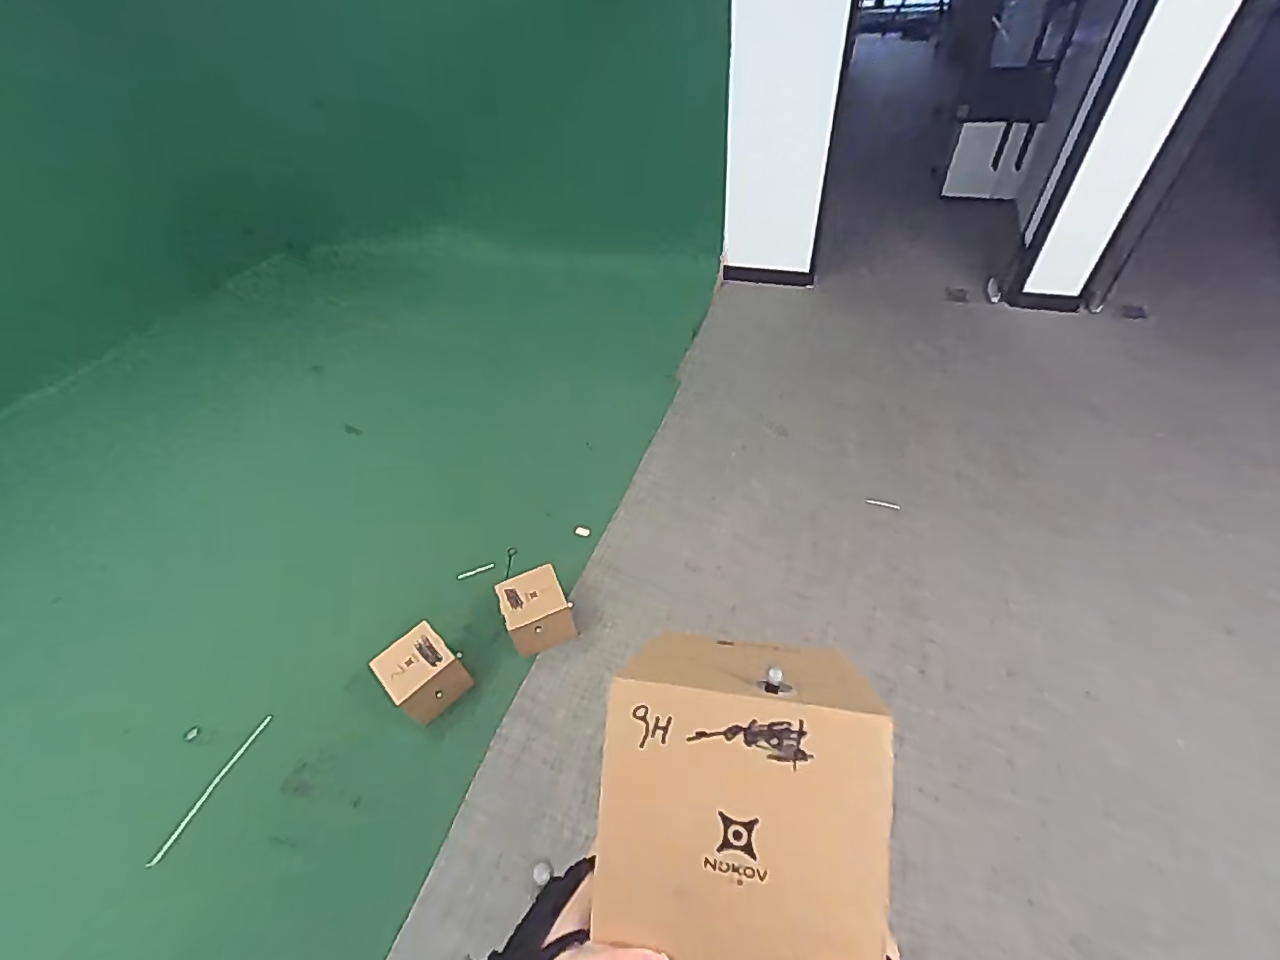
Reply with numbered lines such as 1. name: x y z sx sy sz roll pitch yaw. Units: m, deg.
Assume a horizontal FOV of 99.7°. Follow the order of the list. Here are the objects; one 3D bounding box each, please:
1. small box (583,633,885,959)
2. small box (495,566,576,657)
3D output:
1. small box: 0.070 0.223 0.392 0.168 0.176 0.179 4 85 14
2. small box: -0.306 0.390 1.592 0.179 0.176 0.168 -20 48 -13
